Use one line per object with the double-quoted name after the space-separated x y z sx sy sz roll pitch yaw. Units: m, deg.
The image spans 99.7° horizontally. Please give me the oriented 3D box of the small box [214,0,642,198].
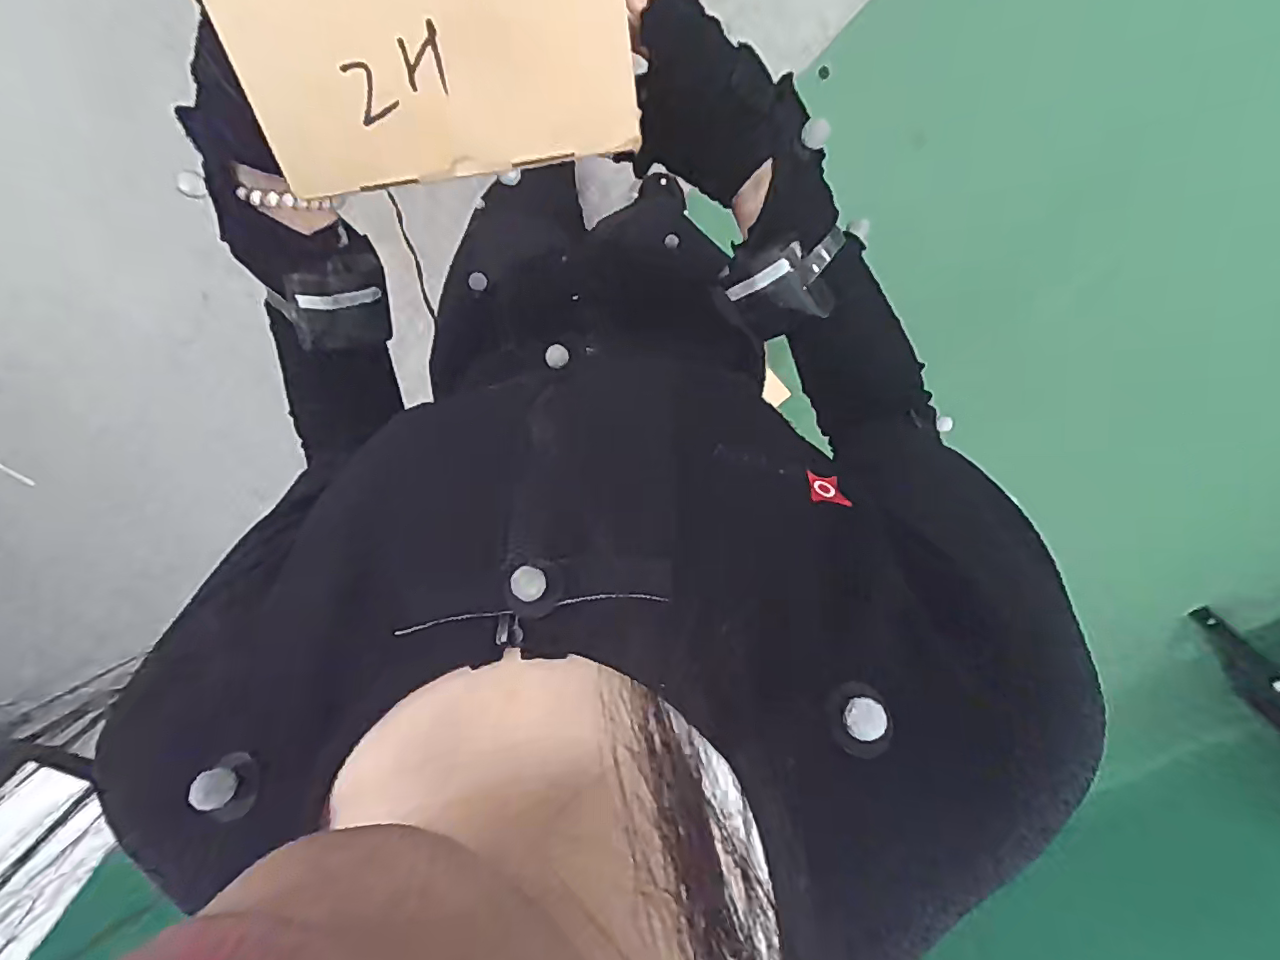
-0.094 -0.258 0.269 0.168 0.176 0.179 -7 126 3 "small box"
